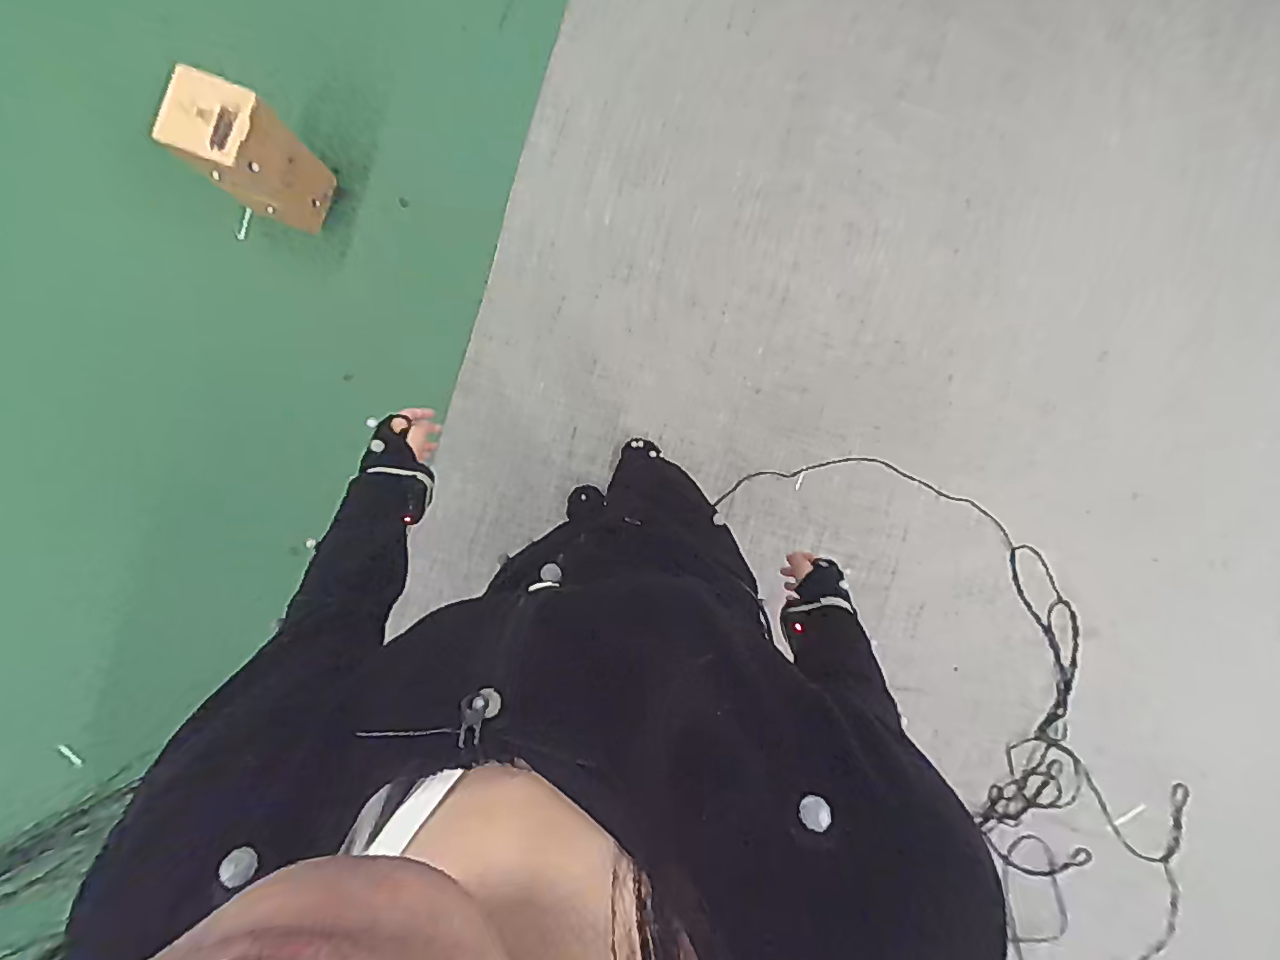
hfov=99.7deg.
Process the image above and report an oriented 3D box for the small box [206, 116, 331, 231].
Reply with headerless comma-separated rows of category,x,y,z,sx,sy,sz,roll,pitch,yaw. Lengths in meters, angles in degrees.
small box,-0.929,-0.763,1.367,0.179,0.176,0.168,19,90,-4
